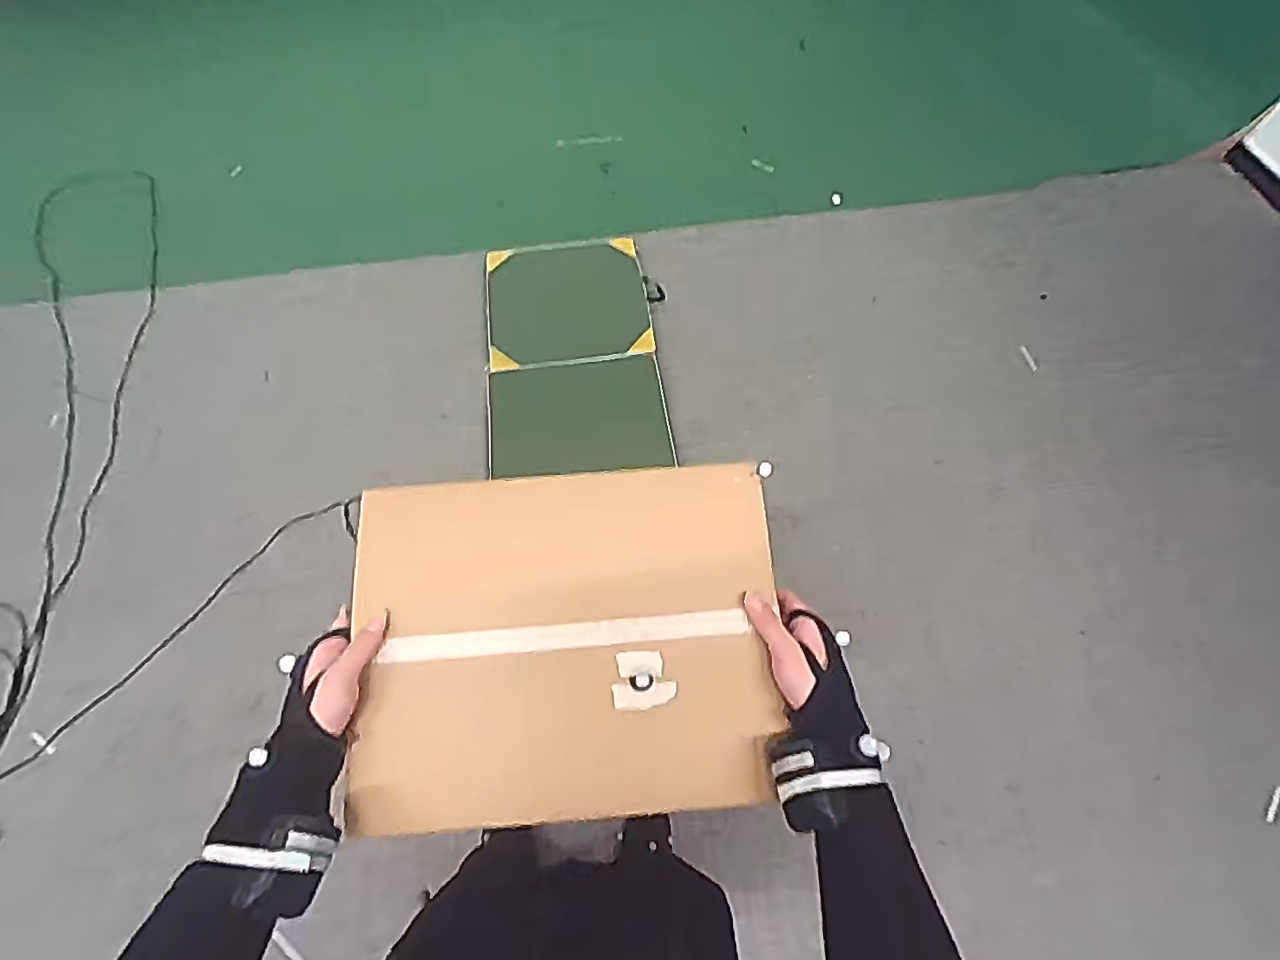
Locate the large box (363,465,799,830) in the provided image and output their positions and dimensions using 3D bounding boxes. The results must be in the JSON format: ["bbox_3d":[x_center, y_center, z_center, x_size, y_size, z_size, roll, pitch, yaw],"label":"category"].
[{"bbox_3d":[-0.067,0.188,0.669,0.408,0.320,0.320,-4,75,-2],"label":"large box"}]
